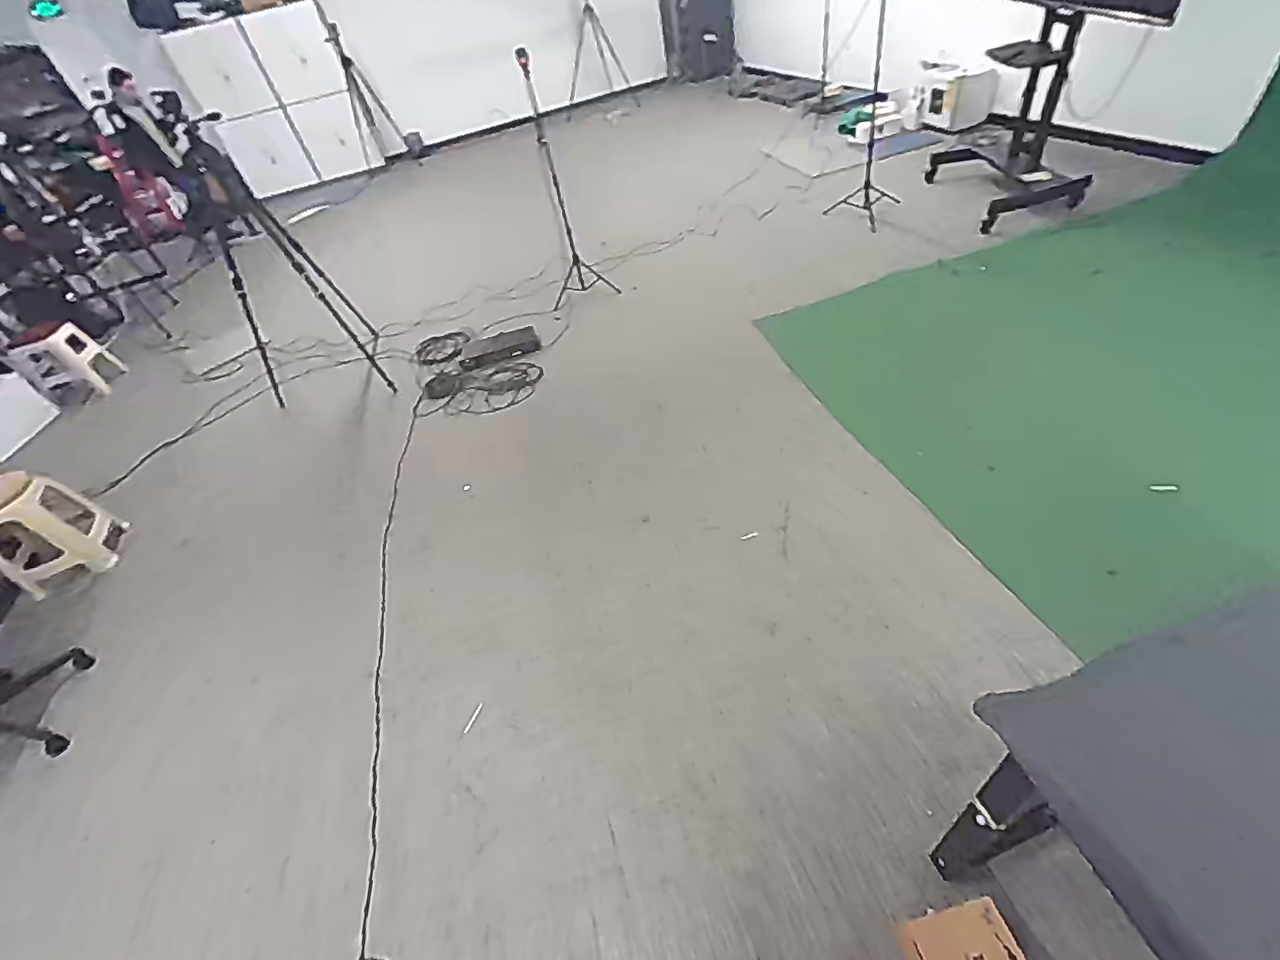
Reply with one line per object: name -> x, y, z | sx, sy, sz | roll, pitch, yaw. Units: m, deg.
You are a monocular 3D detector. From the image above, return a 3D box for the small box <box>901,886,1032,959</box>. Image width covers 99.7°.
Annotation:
small box -> 0.630, 0.923, 1.046 | 0.179, 0.176, 0.168 | -16, 44, -2
